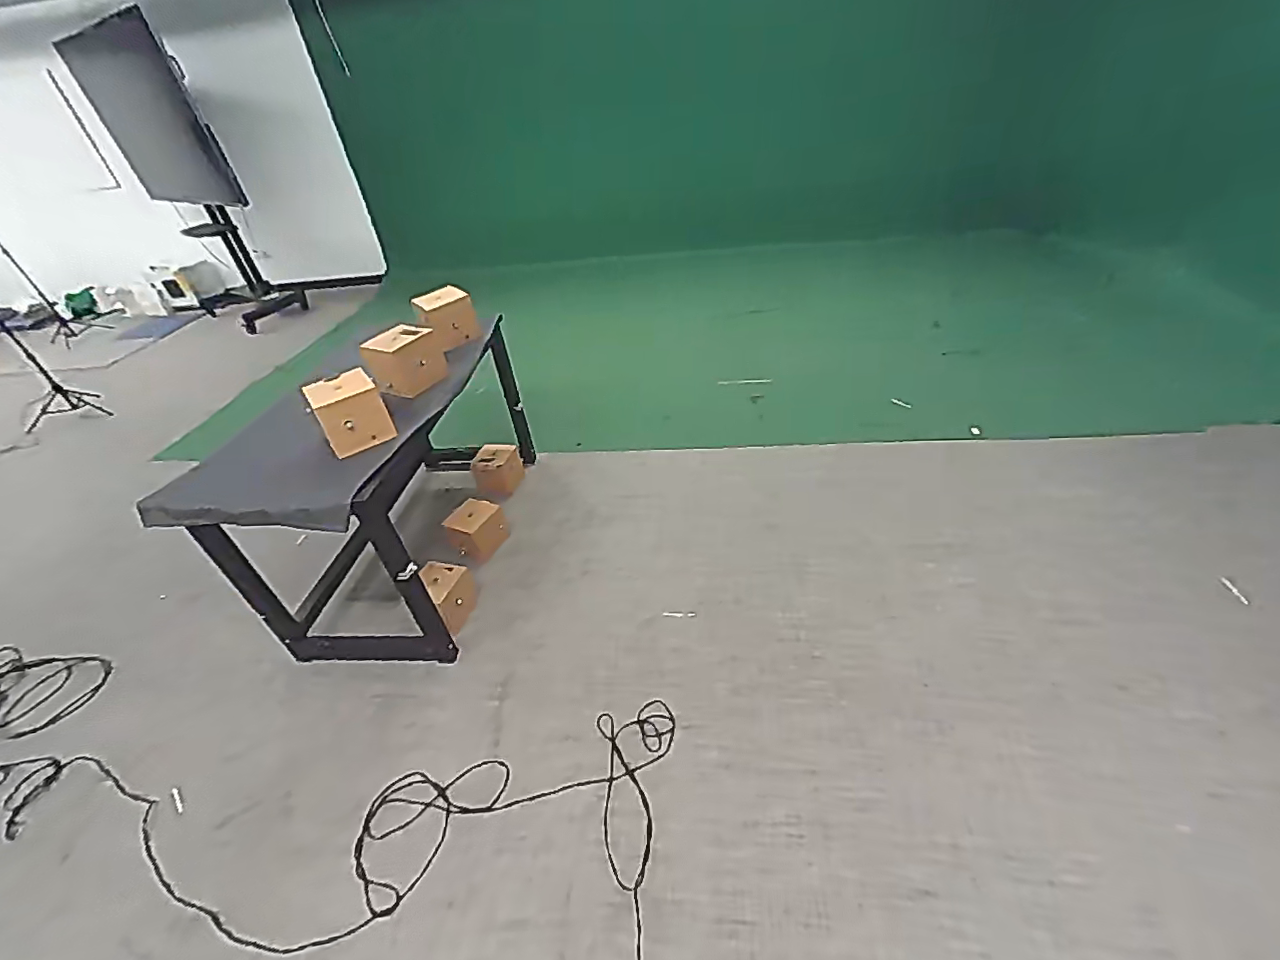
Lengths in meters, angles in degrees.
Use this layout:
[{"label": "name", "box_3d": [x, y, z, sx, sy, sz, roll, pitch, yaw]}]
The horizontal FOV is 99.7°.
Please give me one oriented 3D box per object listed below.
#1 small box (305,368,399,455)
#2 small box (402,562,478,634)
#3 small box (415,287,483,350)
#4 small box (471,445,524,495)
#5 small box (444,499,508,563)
[{"label": "small box", "box_3d": [-0.816, -0.191, 1.541, 0.168, 0.176, 0.179, -28, 42, -25]}, {"label": "small box", "box_3d": [-0.702, 0.420, 1.926, 0.168, 0.176, 0.179, 7, 40, 17]}, {"label": "small box", "box_3d": [-0.723, -0.613, 2.060, 0.168, 0.176, 0.179, -32, 43, -24]}, {"label": "small box", "box_3d": [-0.654, -0.044, 2.516, 0.168, 0.176, 0.179, 3, 38, 12]}, {"label": "small box", "box_3d": [-0.656, 0.206, 2.195, 0.168, 0.176, 0.179, 12, 43, 24]}]
